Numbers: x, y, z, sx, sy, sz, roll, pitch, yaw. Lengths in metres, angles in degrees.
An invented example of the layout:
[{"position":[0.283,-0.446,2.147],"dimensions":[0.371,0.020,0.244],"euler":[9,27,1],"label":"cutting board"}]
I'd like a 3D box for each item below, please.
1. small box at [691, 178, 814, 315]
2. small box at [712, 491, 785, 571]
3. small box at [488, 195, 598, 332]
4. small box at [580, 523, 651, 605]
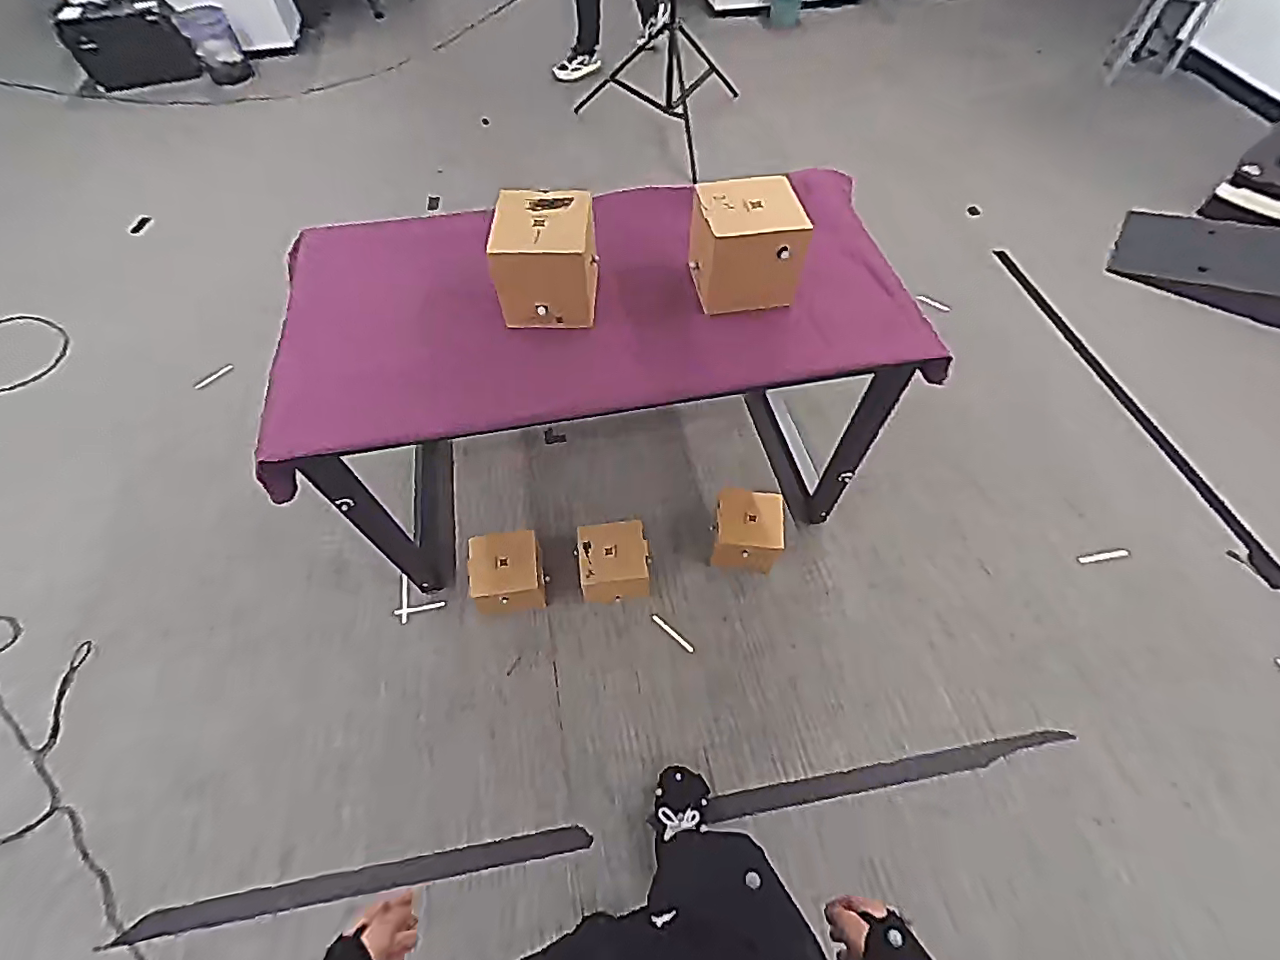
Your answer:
[{"position":[0.200,-0.435,1.017],"dimensions":[0.179,0.176,0.168],"euler":[-8,58,-4],"label":"small box"},{"position":[0.301,0.148,1.517],"dimensions":[0.179,0.176,0.168],"euler":[4,60,5],"label":"small box"},{"position":[-0.168,-0.399,1.002],"dimensions":[0.168,0.176,0.179],"euler":[0,59,1],"label":"small box"},{"position":[-0.067,0.232,1.470],"dimensions":[0.179,0.176,0.168],"euler":[-6,59,-3],"label":"small box"}]
